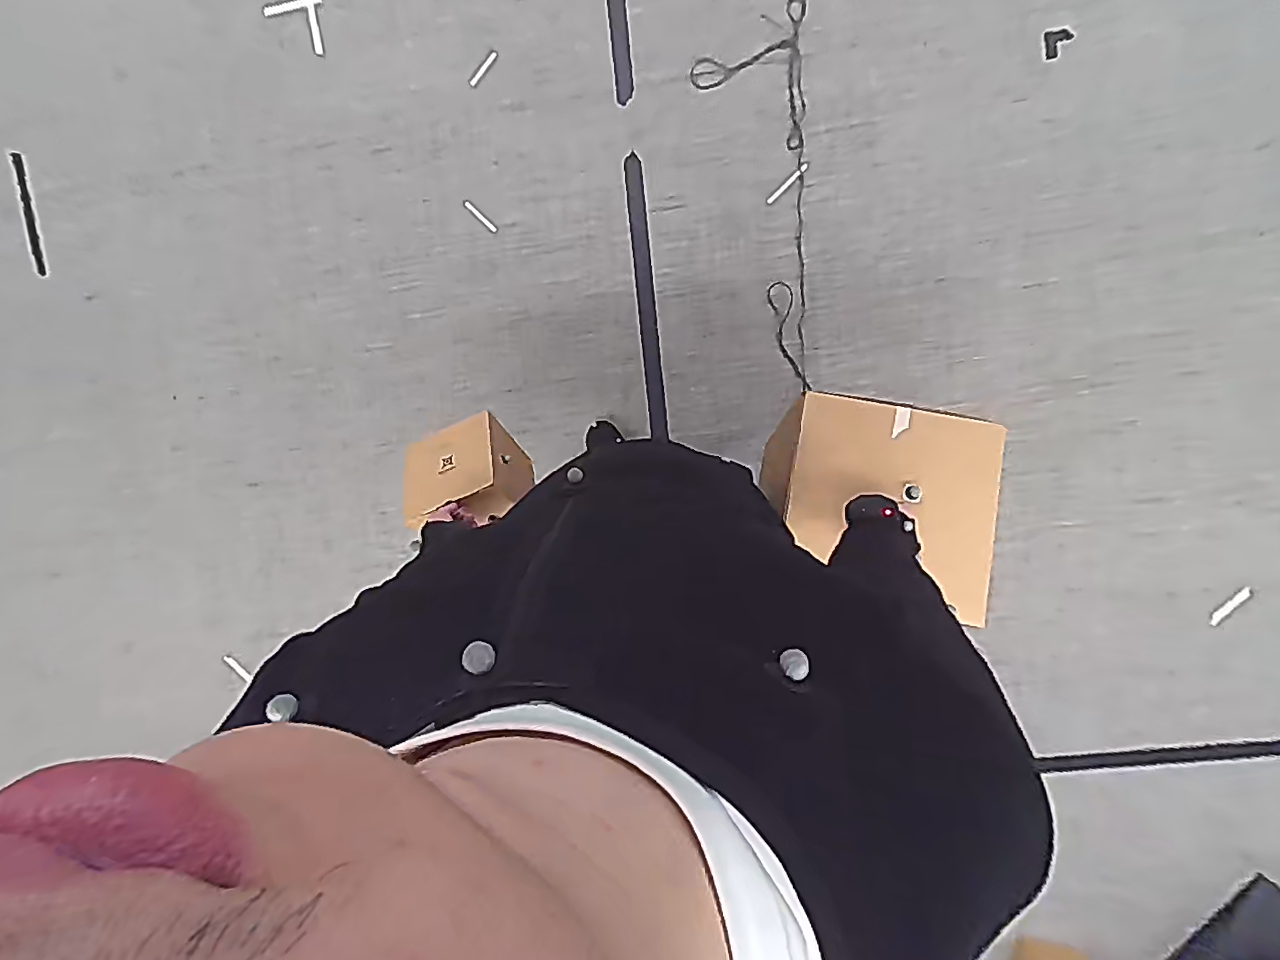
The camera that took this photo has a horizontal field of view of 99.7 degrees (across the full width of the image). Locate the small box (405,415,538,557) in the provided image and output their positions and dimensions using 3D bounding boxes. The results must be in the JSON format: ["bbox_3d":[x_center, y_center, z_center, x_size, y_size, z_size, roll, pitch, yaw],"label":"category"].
[{"bbox_3d":[-0.297,0.021,0.976,0.168,0.176,0.179,-21,52,6],"label":"small box"}]
